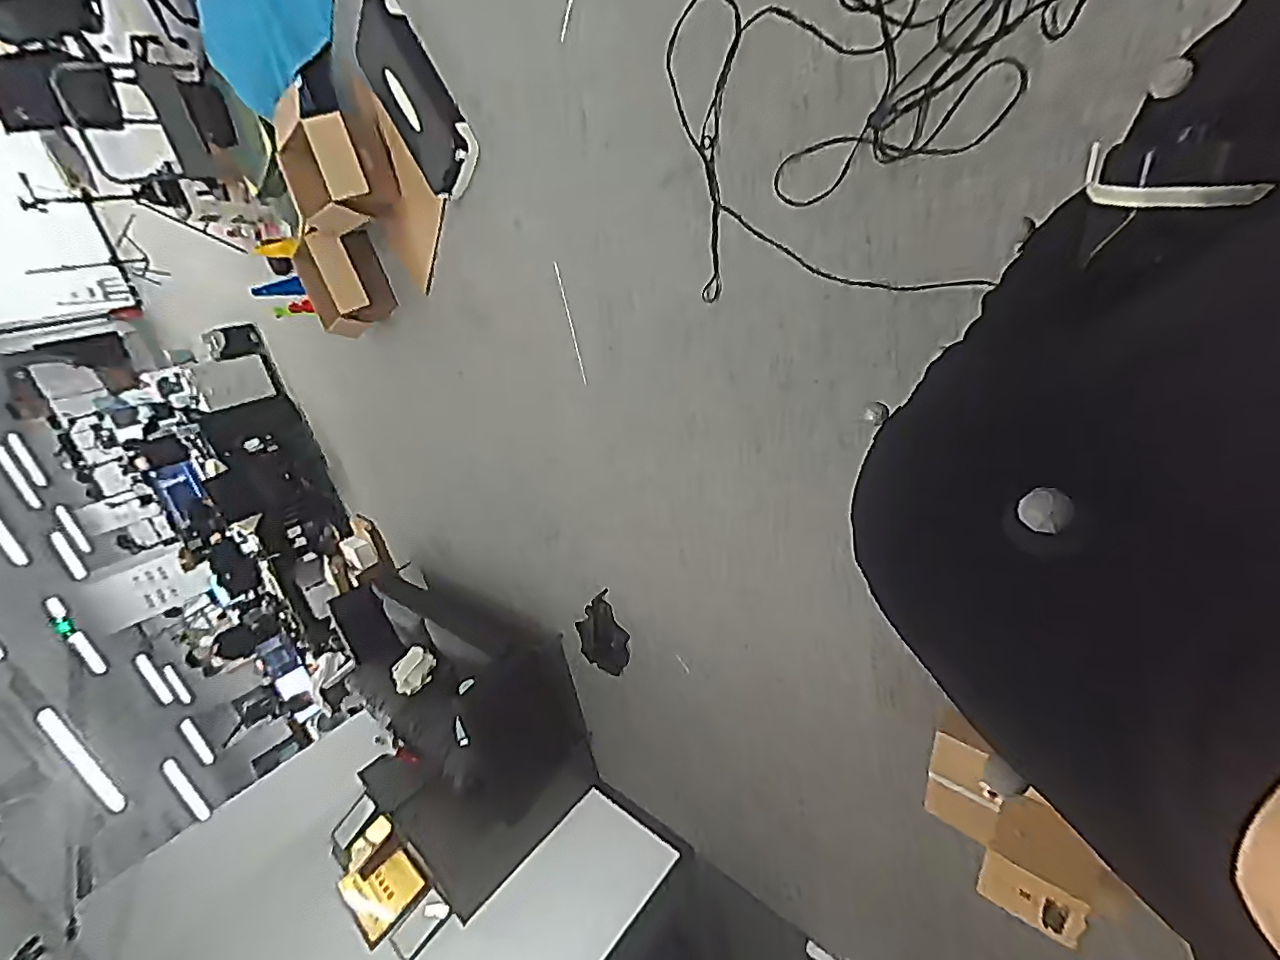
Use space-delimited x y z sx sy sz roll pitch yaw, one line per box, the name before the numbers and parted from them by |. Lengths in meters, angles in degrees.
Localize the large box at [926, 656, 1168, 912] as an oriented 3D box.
large box | 0.988 0.715 1.338 0.408 0.320 0.320 17 125 41
